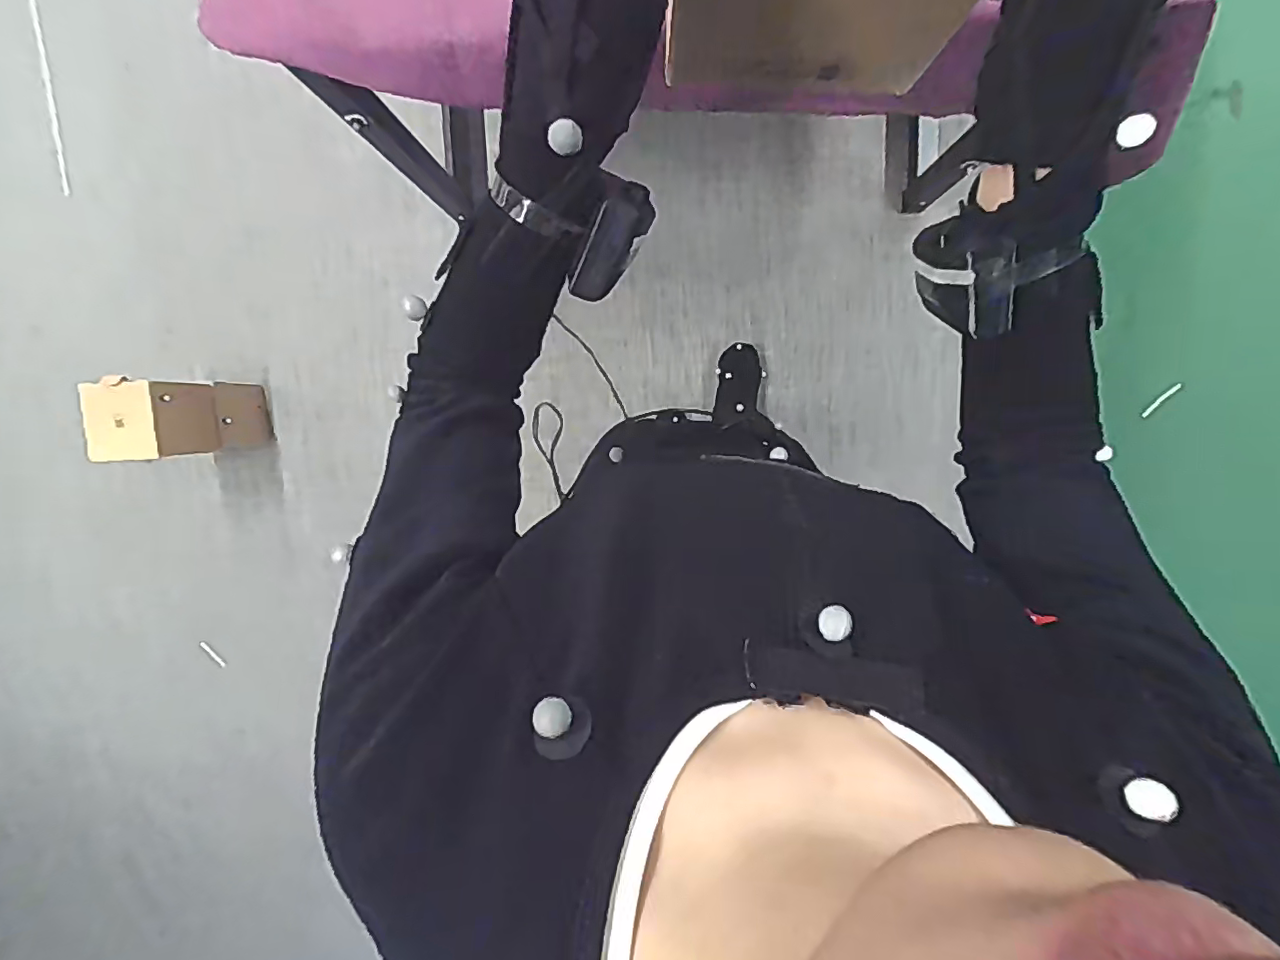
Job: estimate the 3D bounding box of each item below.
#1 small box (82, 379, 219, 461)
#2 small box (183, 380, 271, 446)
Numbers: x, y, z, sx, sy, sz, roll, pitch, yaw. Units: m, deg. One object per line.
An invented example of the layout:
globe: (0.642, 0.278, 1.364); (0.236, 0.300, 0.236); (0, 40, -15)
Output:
small box: (-1.137, -0.142, 1.270); (0.168, 0.176, 0.179); (-3, 96, 3)
small box: (-1.127, -0.172, 1.431); (0.179, 0.176, 0.168); (-2, 96, 4)
